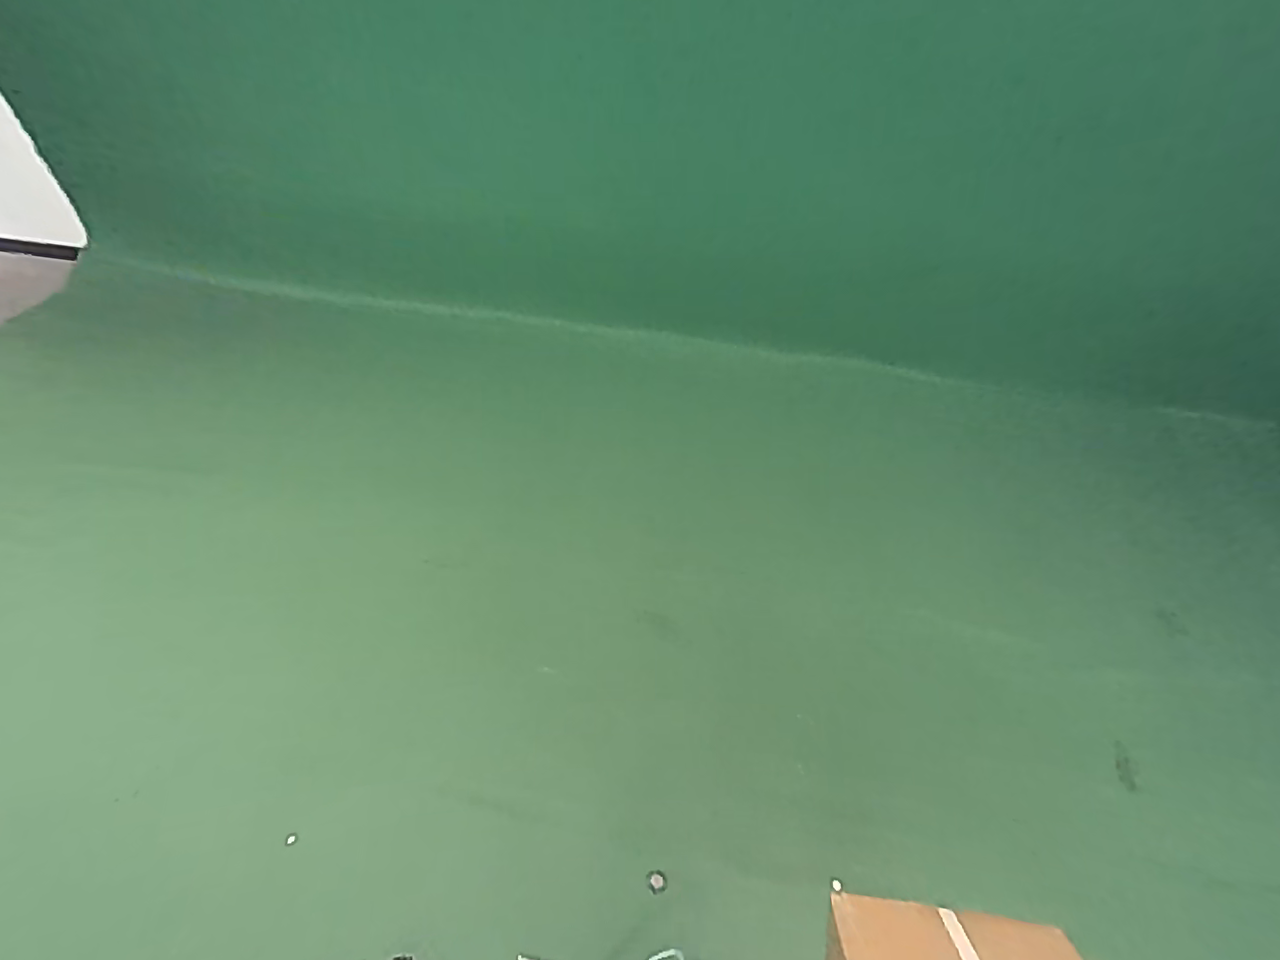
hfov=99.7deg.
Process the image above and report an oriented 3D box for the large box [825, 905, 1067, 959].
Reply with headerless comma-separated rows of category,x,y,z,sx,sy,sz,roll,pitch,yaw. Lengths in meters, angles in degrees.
large box,0.392,0.786,0.580,0.320,0.320,0.408,5,3,7
